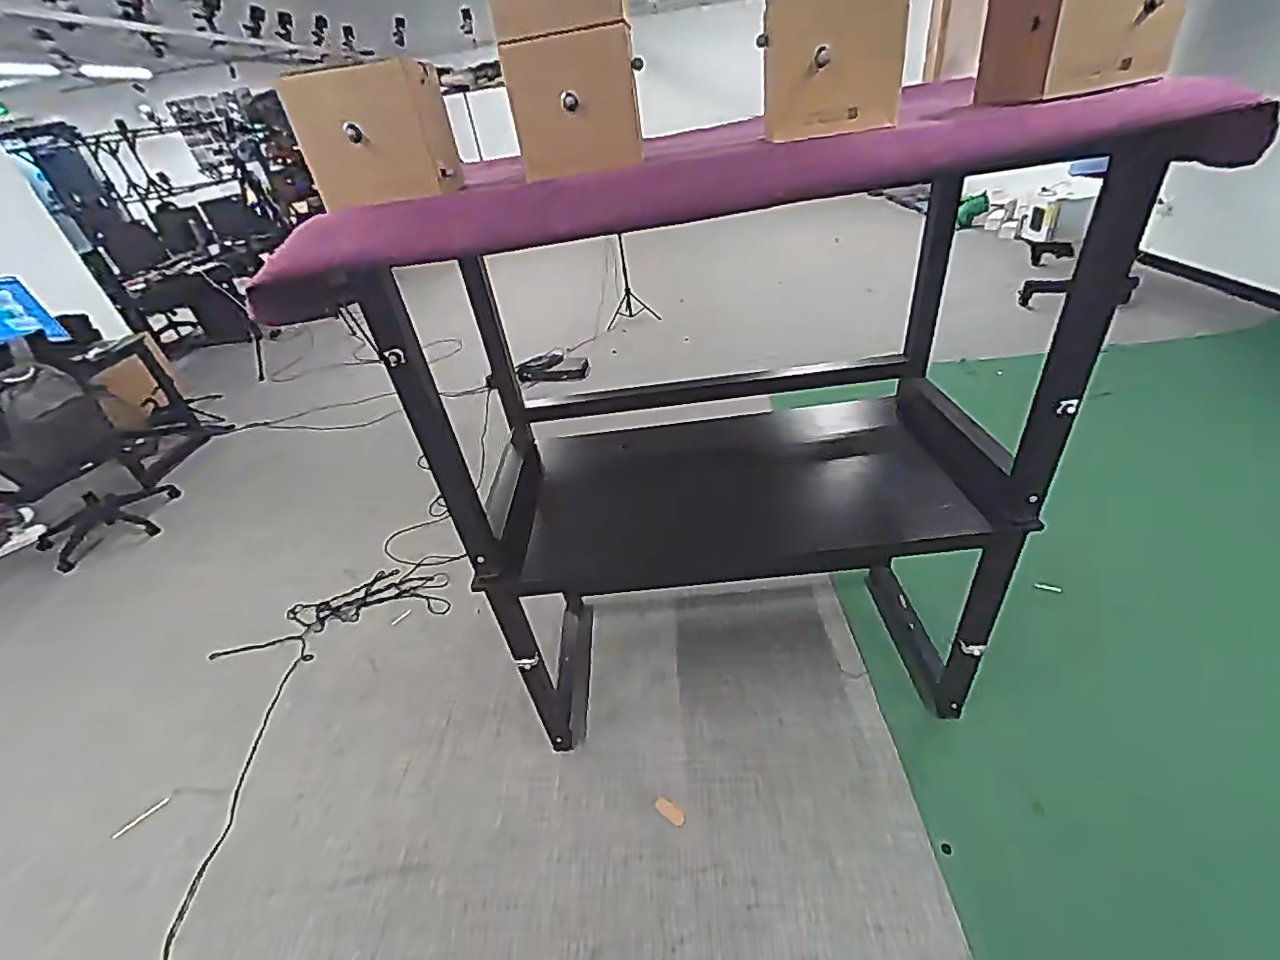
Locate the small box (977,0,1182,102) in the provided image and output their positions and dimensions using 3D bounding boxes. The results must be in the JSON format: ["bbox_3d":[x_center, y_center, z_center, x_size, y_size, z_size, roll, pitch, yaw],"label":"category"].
[{"bbox_3d":[0.609,-0.644,0.754,0.168,0.176,0.179,-7,33,3],"label":"small box"}]

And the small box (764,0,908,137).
[{"bbox_3d":[0.270,-0.600,0.773,0.168,0.176,0.179,-3,34,8],"label":"small box"}]

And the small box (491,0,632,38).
[{"bbox_3d":[-0.108,-0.705,0.716,0.179,0.176,0.168,-5,35,7],"label":"small box"}]

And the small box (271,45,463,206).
[{"bbox_3d":[-0.380,-0.518,0.796,0.179,0.176,0.168,-8,35,1],"label":"small box"}]
